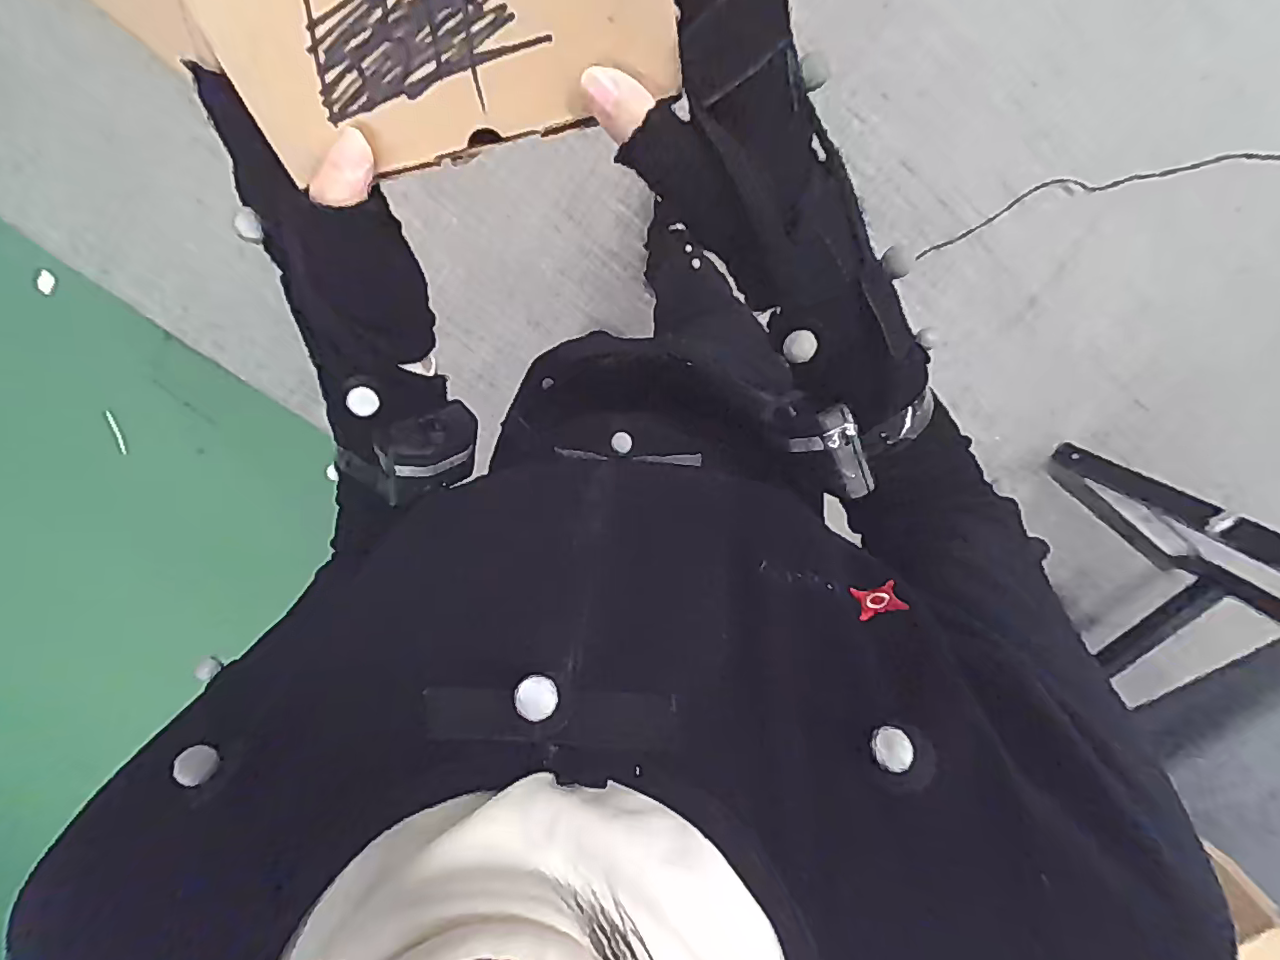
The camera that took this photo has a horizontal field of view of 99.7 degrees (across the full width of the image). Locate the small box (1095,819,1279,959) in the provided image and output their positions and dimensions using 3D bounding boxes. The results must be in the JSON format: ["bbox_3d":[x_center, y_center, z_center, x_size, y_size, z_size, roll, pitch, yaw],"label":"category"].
[{"bbox_3d":[0.891,0.680,0.850,0.179,0.176,0.168,36,107,-12],"label":"small box"}]

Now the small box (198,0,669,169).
[{"bbox_3d":[-0.084,-0.261,0.220,0.168,0.176,0.179,-10,132,8],"label":"small box"}]
